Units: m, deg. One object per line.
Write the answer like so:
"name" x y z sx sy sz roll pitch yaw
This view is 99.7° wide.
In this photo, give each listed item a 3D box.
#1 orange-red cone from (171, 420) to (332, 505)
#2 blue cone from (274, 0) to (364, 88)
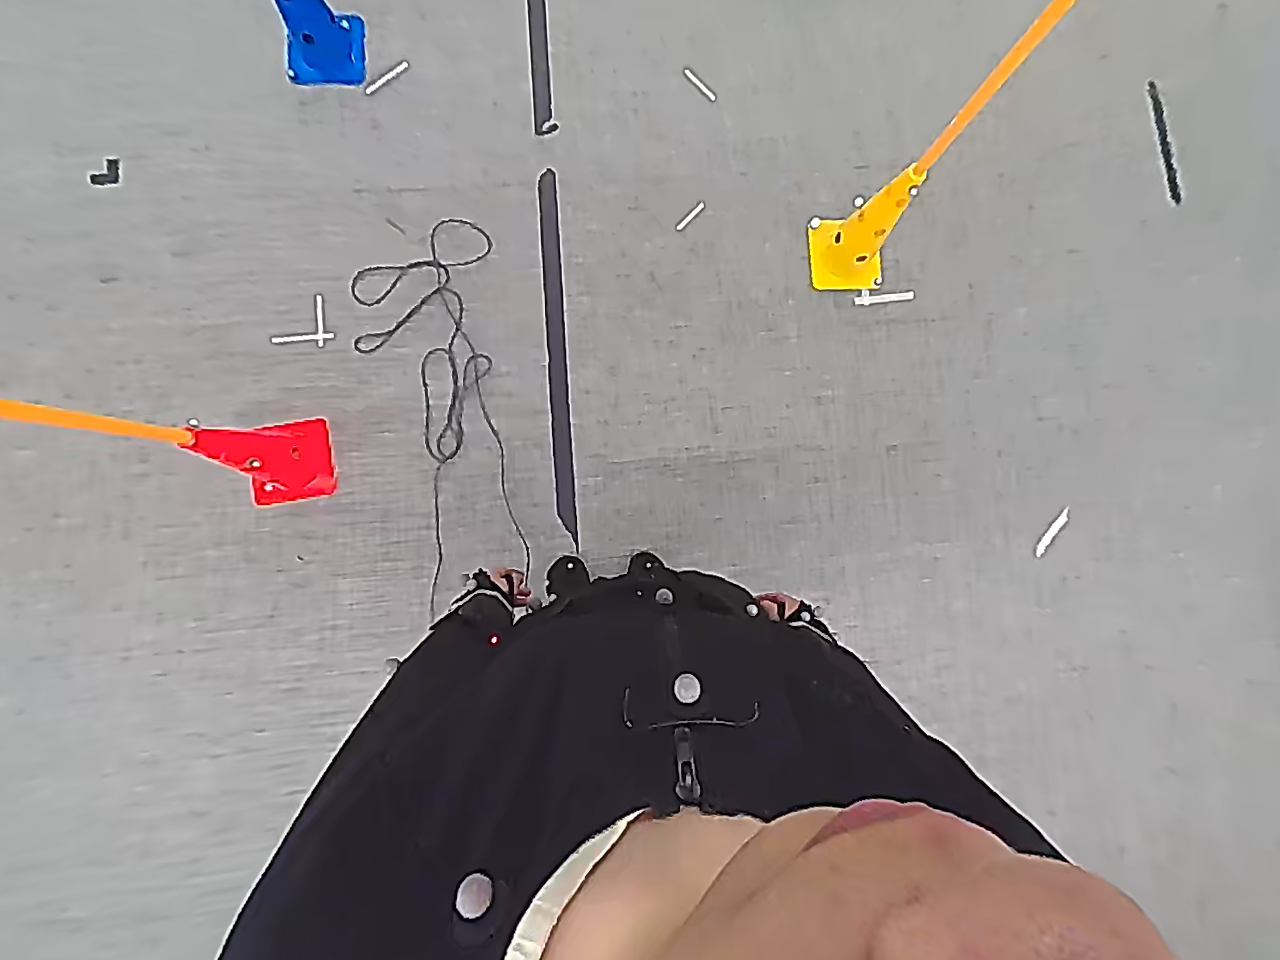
"orange-red cone" -0.857 -0.060 1.168 0.199 0.360 0.198 -9 86 -6
"blue cone" -0.834 -1.163 1.293 0.193 0.380 0.192 -2 85 -4
